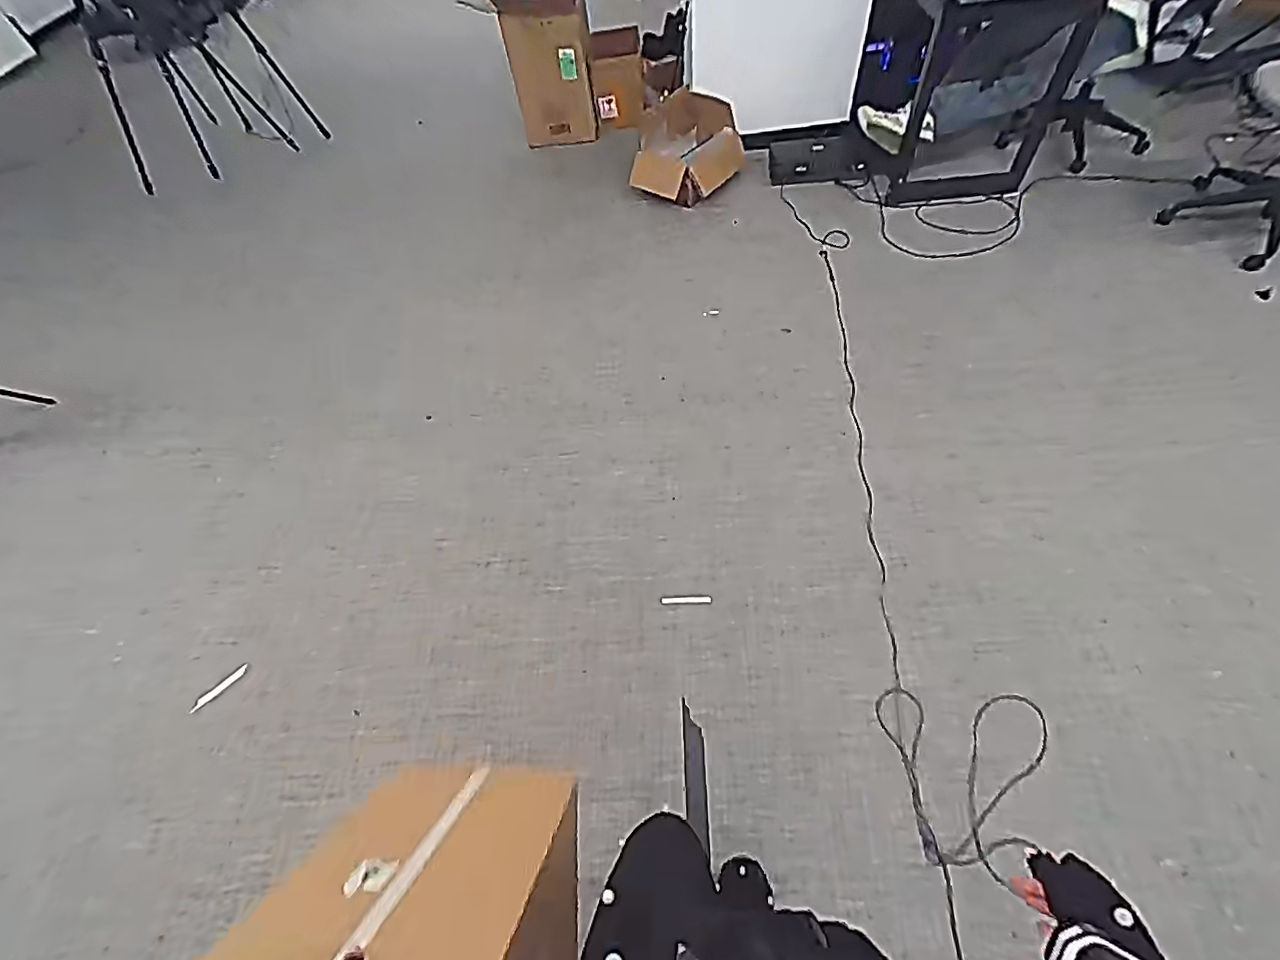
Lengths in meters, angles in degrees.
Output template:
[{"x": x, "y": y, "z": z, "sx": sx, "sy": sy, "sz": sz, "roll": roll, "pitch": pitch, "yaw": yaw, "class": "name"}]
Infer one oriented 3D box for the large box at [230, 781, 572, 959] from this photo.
[{"x": -0.281, "y": 0.672, "z": 0.727, "sx": 0.320, "sy": 0.408, "sz": 0.320, "roll": -1, "pitch": 89, "yaw": 6, "class": "large box"}]
